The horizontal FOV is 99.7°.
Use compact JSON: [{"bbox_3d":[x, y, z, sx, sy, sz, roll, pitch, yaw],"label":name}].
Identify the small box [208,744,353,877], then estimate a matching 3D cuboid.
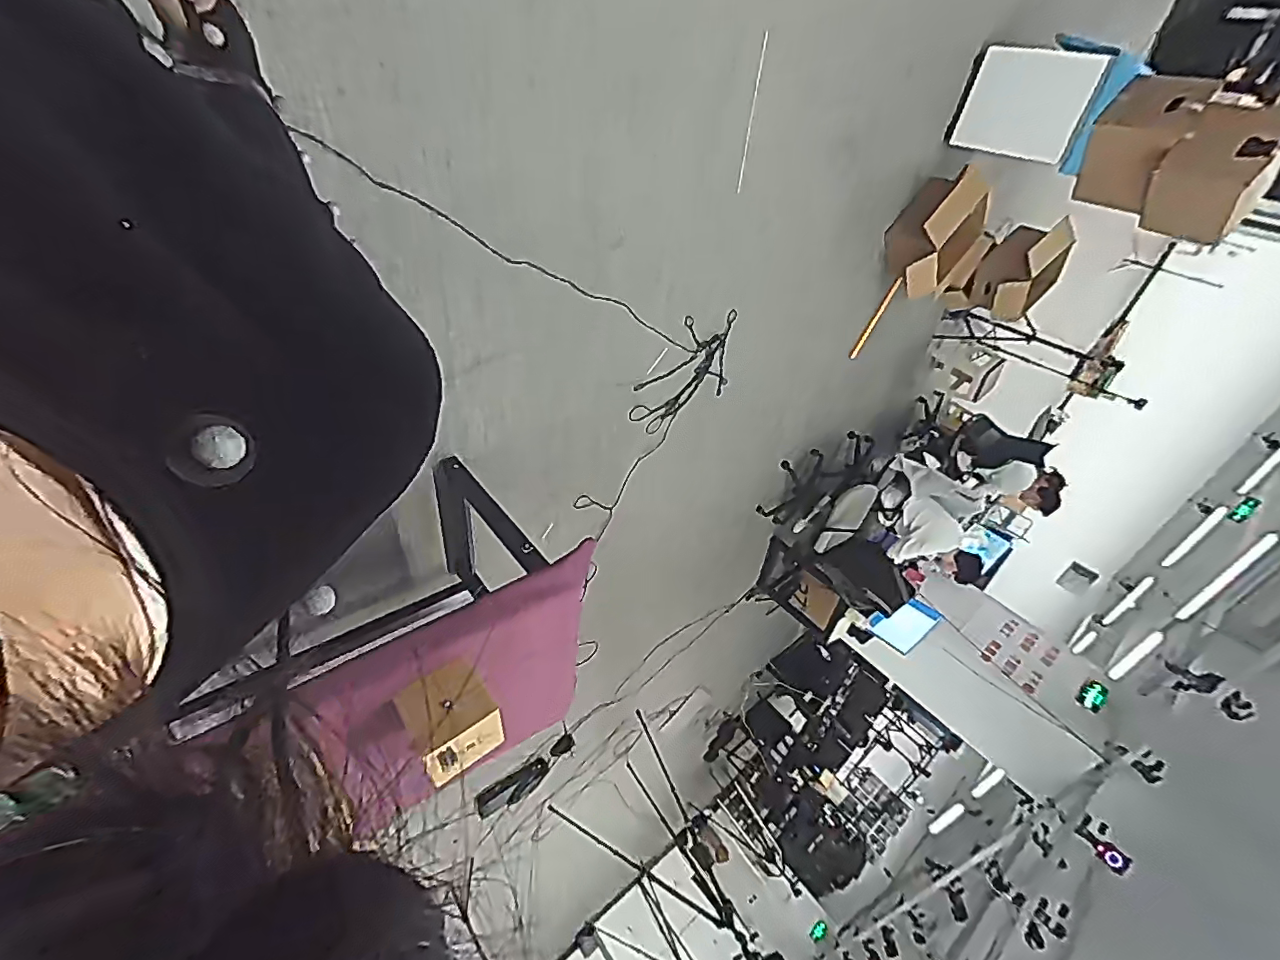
[{"bbox_3d":[-0.692,0.653,1.048,0.168,0.176,0.179,-28,141,-30],"label":"small box"}]
